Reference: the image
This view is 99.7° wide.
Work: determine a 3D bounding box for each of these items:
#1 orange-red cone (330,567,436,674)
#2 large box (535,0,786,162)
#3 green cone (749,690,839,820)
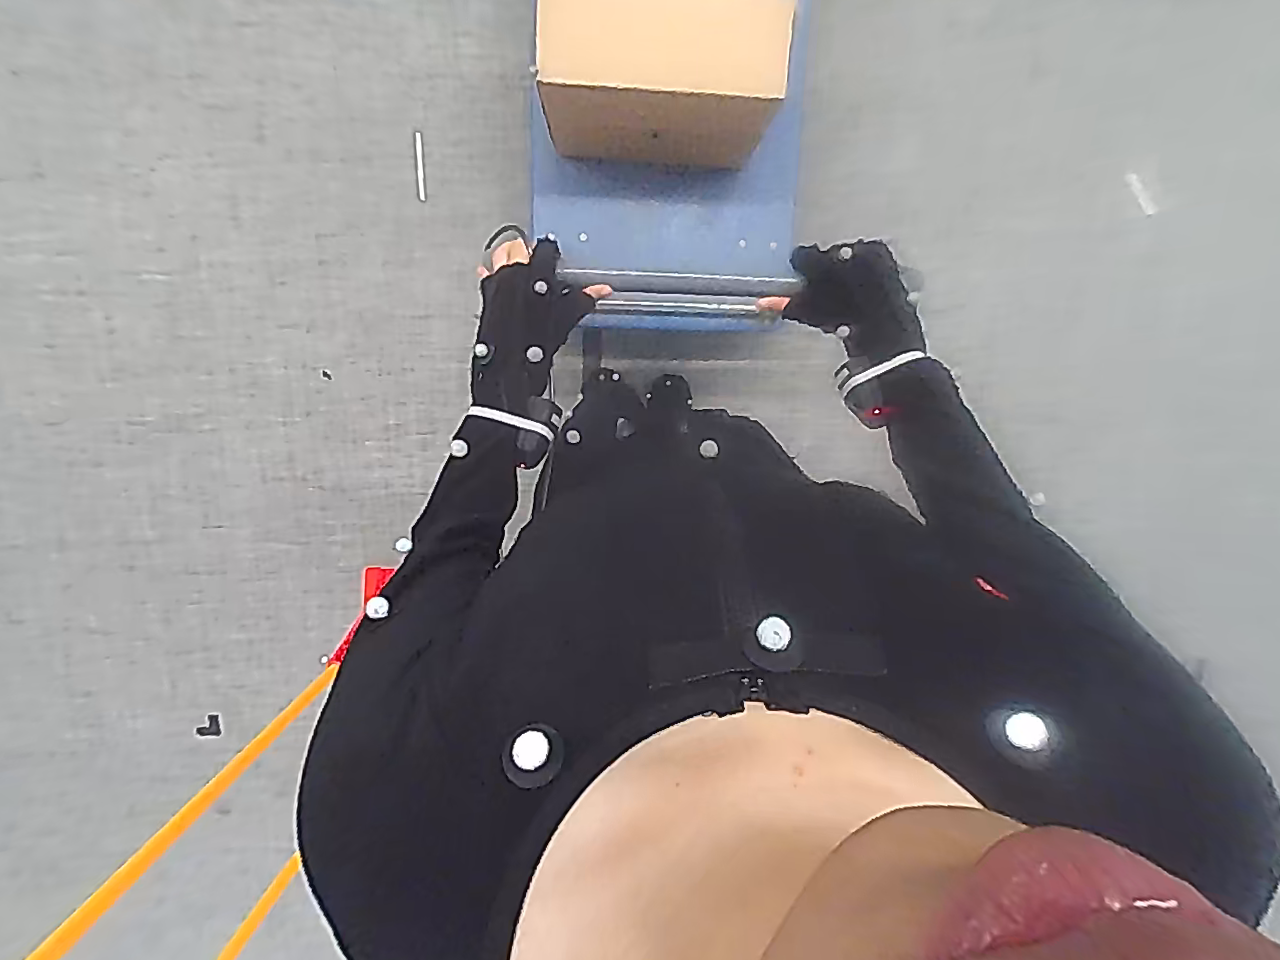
[{"bbox_3d":[-0.669,0.374,1.349,0.198,0.360,0.199,7,99,-4],"label":"orange-red cone"},{"bbox_3d":[0.033,-0.809,0.990,0.408,0.320,0.320,2,101,-2],"label":"large box"},{"bbox_3d":[0.440,0.760,1.458,0.202,0.368,0.200,3,101,-4],"label":"green cone"}]
